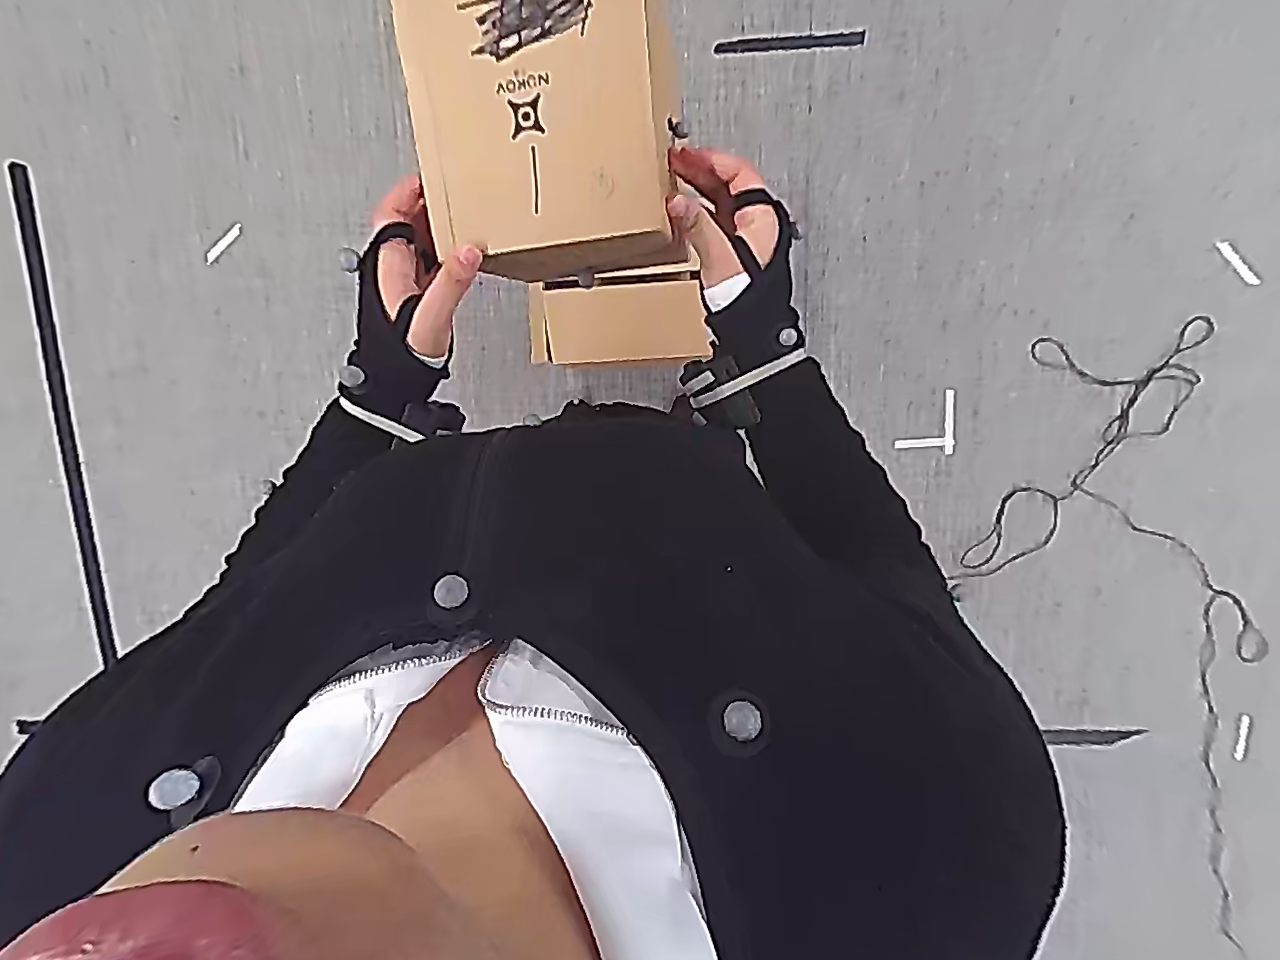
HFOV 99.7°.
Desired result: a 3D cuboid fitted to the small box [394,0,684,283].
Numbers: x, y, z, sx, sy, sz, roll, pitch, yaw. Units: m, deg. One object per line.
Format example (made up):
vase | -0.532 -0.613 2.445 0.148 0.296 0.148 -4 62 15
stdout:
small box | -0.059 -0.263 0.425 0.168 0.176 0.179 -3 104 12
